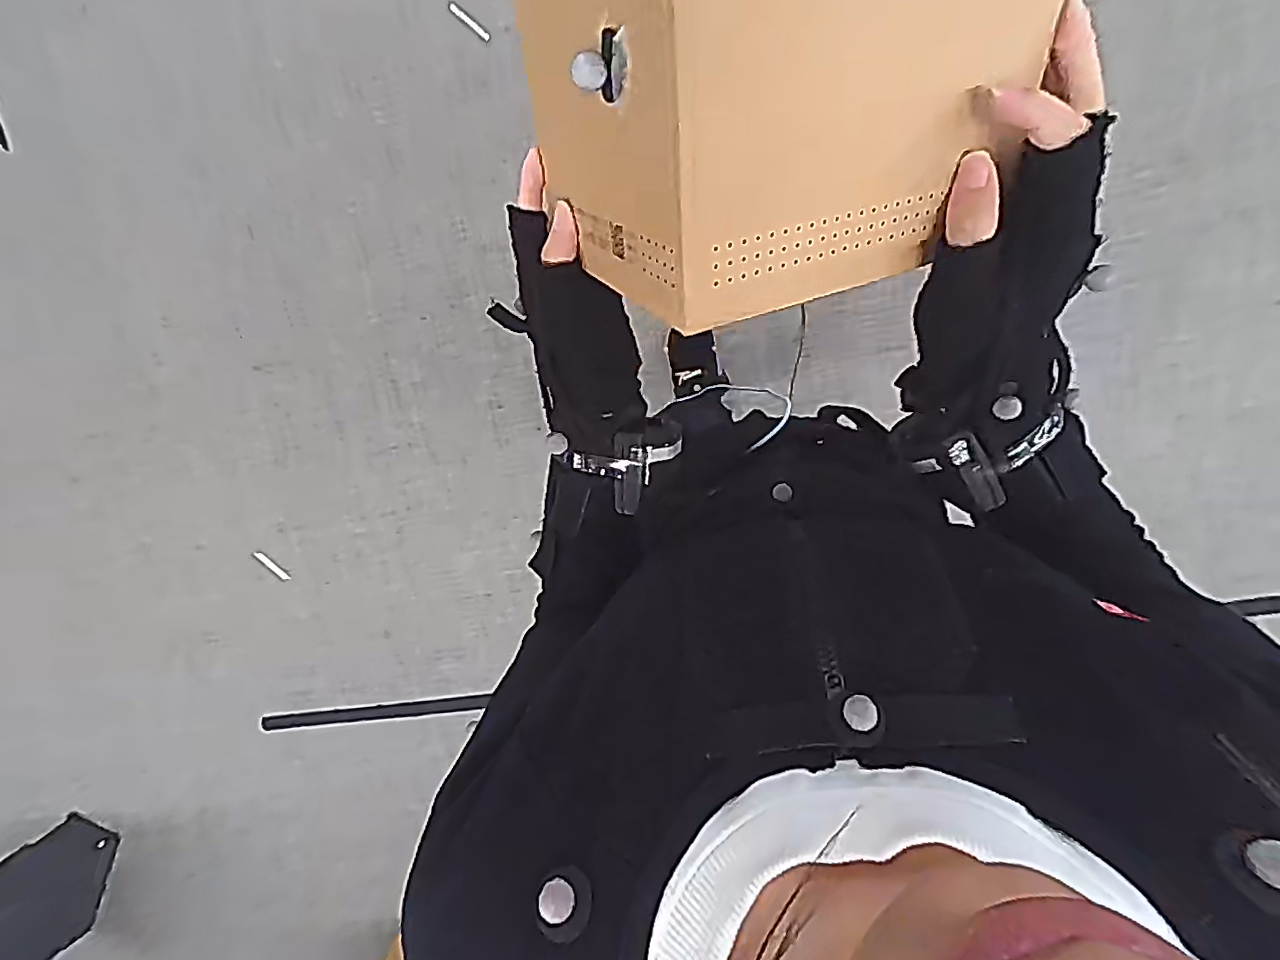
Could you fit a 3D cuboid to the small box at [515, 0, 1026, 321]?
[{"bbox_3d":[0.052,-0.190,0.254,0.179,0.168,0.176,-20,130,-18],"label":"small box"}]
